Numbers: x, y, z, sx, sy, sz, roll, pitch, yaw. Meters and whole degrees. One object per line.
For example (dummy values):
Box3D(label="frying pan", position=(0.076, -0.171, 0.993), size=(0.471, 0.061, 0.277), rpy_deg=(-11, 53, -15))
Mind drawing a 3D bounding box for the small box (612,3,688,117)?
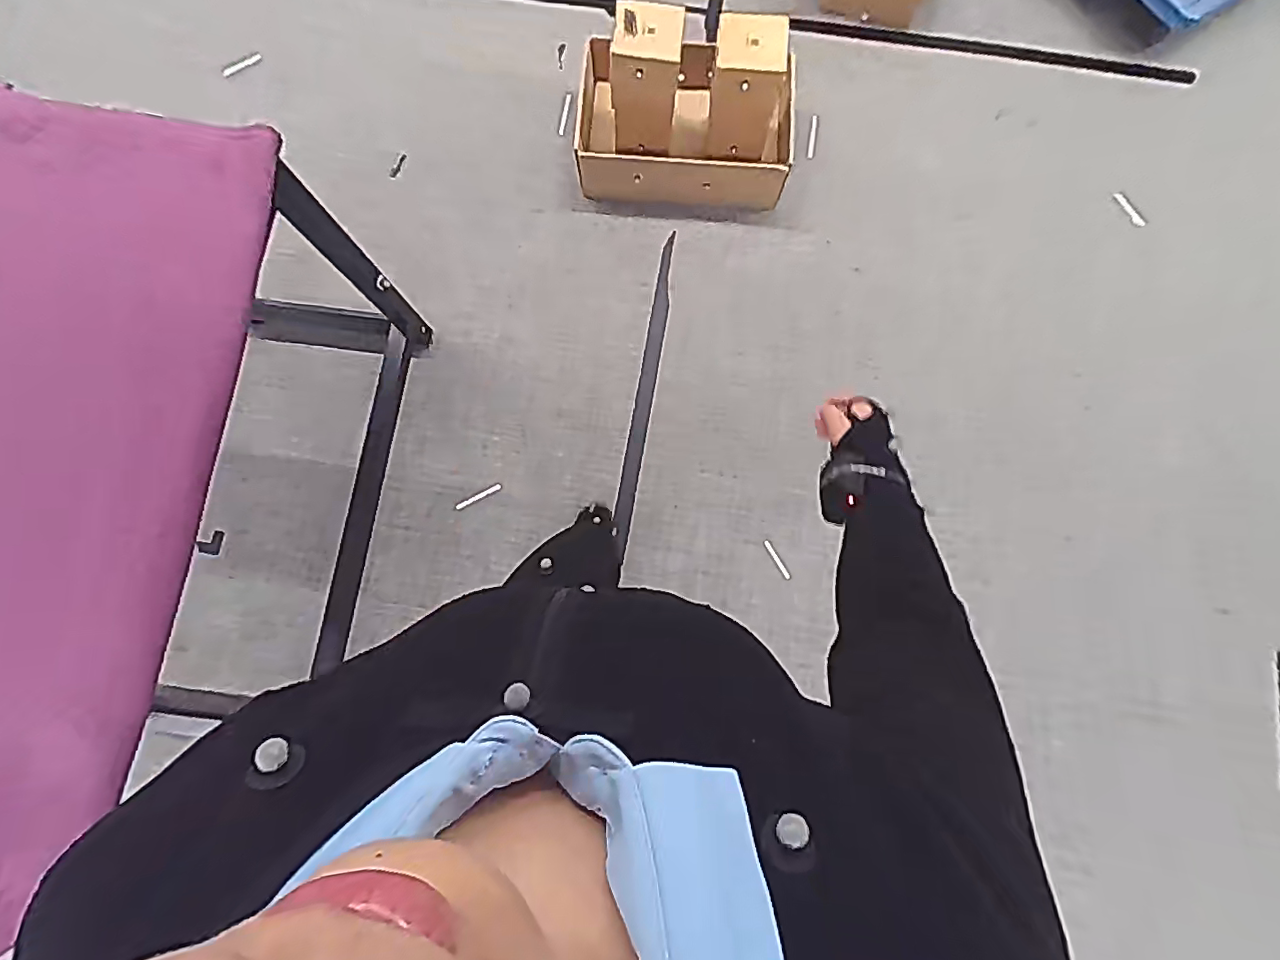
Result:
Box3D(label="small box", position=(0.024, -1.109, 1.439), size=(0.179, 0.176, 0.168), rpy_deg=(7, 80, -1))

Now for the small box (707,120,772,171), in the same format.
Box3D(label="small box", position=(0.293, -1.048, 1.596), size=(0.168, 0.176, 0.179), rpy_deg=(6, 79, 1))

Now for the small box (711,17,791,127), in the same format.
Box3D(label="small box", position=(0.289, -1.074, 1.436), size=(0.179, 0.176, 0.168), rpy_deg=(5, 80, 2))
